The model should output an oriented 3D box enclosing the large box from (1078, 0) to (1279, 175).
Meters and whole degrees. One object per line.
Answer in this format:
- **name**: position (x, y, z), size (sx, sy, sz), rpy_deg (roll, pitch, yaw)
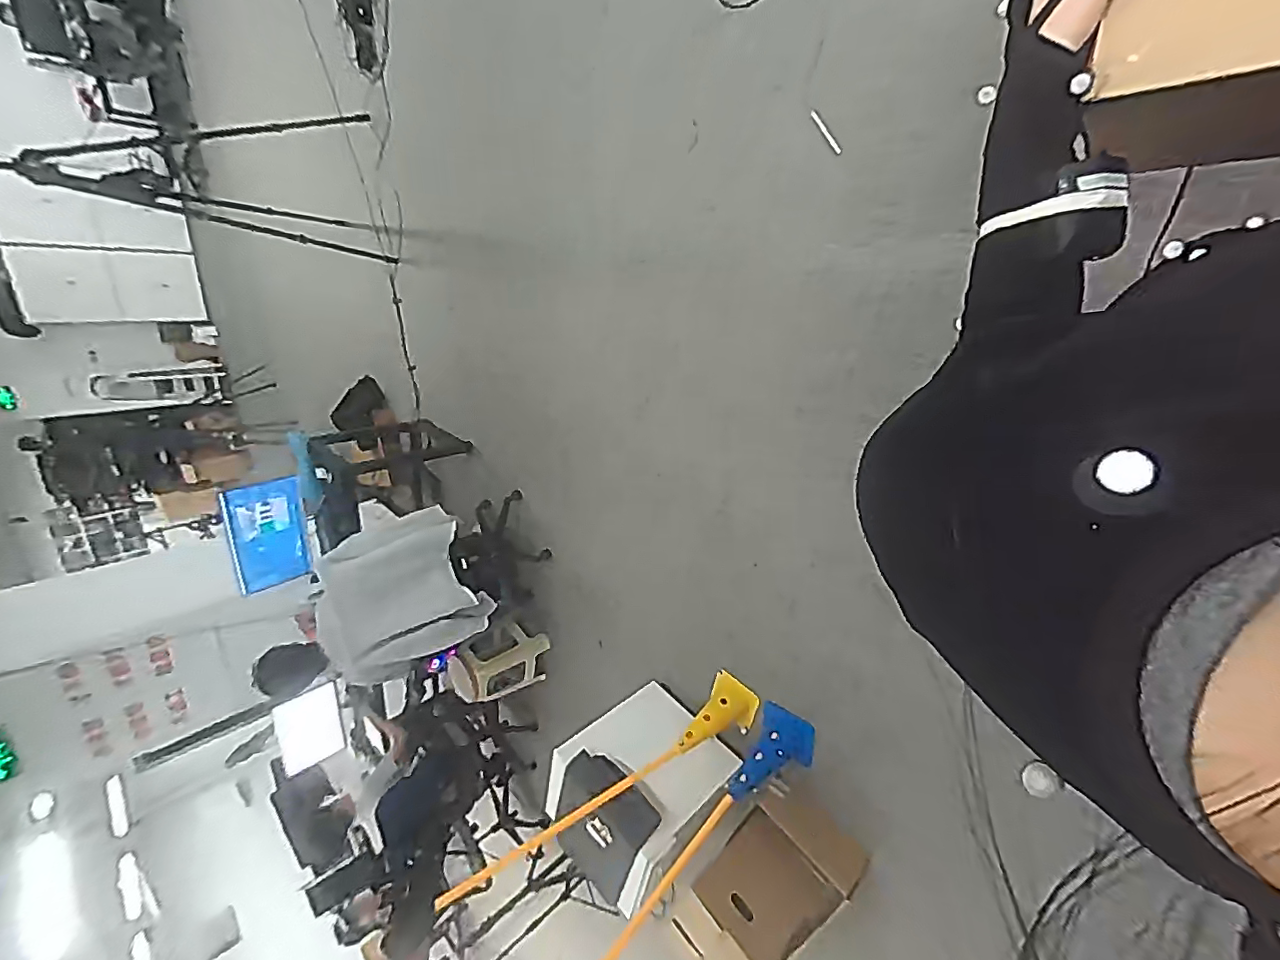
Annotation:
- **large box**: position (0.568, -0.414, 0.336), size (0.408, 0.320, 0.320), rpy_deg (14, 112, 39)
